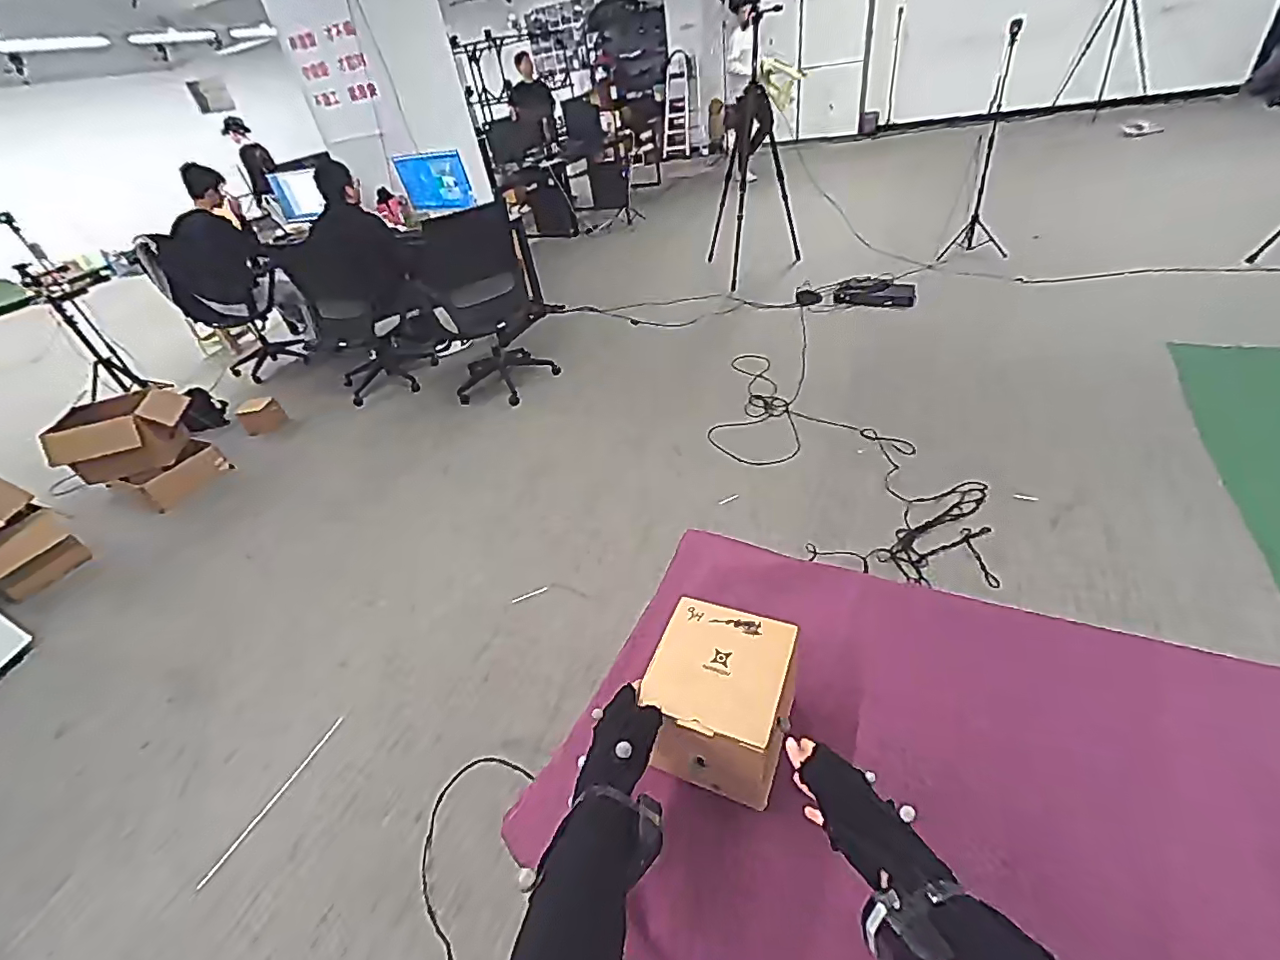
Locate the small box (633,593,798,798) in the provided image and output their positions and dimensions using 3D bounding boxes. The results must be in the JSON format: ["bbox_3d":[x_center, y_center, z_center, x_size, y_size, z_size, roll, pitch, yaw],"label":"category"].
[{"bbox_3d":[0.110,0.288,0.728,0.168,0.176,0.179,10,43,24],"label":"small box"}]
